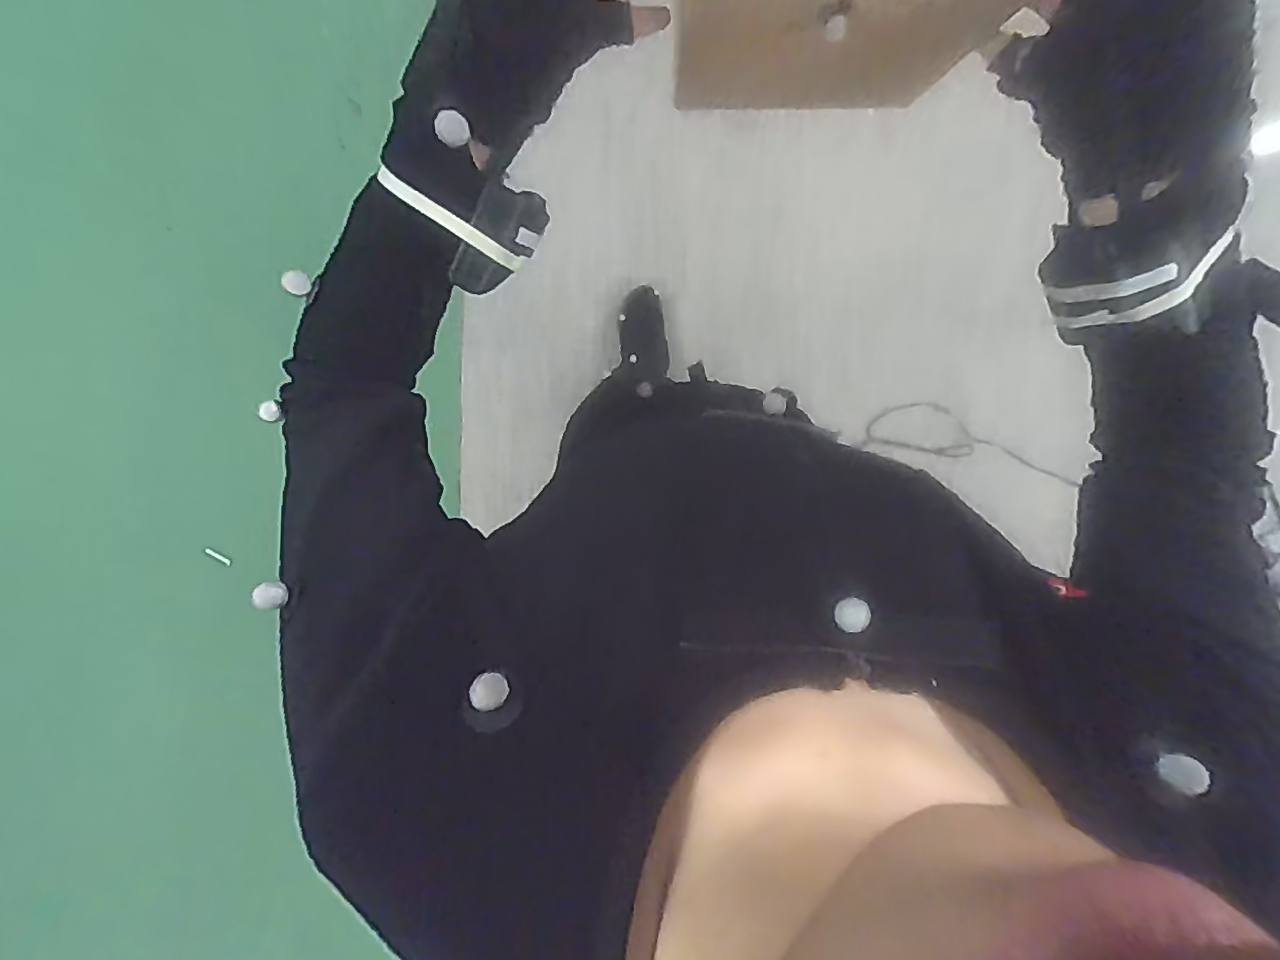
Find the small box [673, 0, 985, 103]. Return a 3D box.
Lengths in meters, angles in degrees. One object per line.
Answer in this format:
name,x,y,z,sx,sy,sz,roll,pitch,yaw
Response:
small box,0.110,-0.341,0.308,0.179,0.176,0.168,-1,104,-1
